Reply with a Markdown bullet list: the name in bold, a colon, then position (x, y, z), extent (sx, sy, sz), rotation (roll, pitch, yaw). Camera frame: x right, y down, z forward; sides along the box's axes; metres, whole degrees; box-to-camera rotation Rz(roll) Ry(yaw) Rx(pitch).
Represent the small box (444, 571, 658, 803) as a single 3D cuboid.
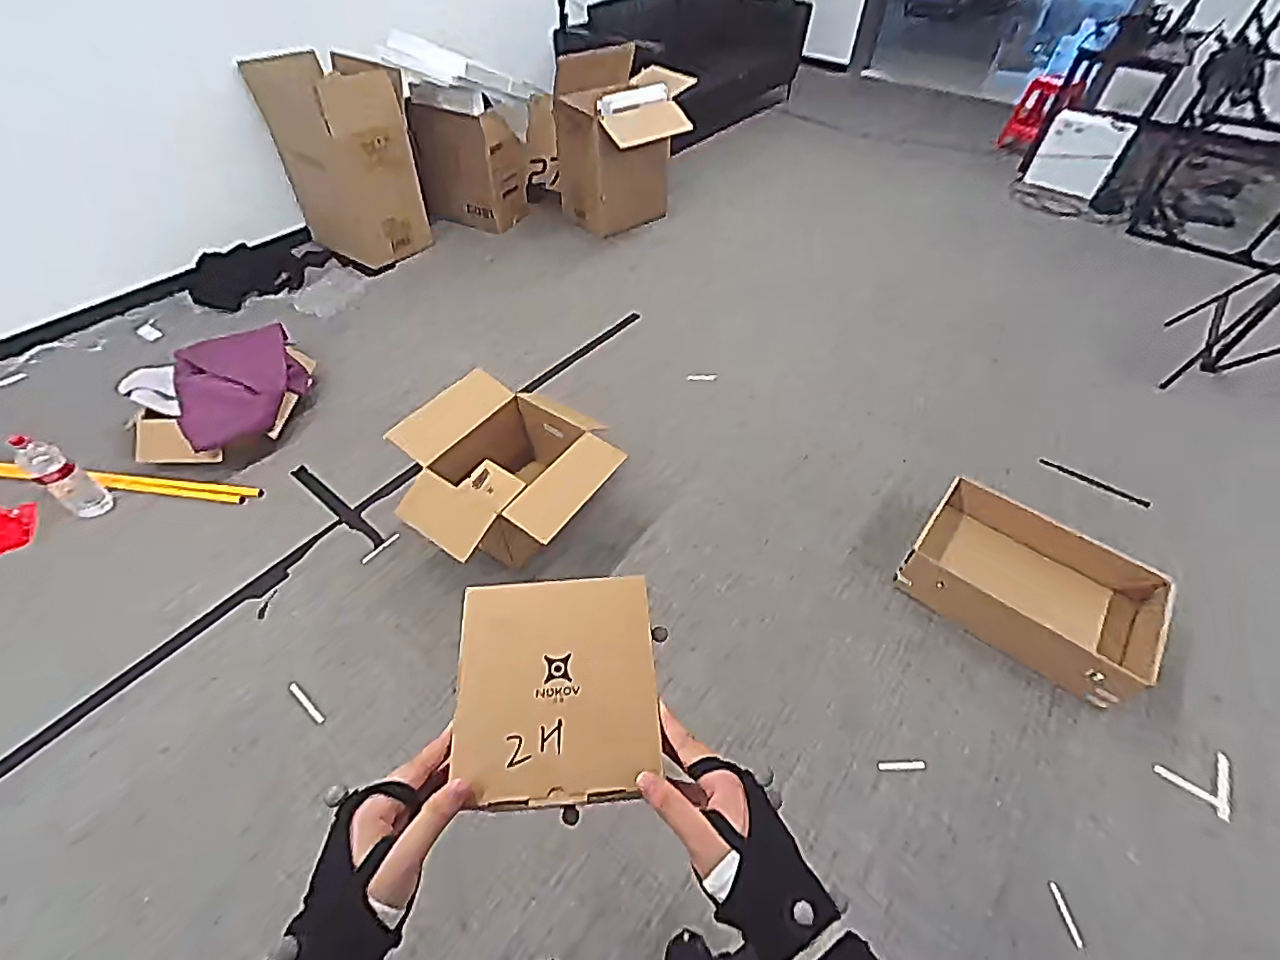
- **small box**: position (-0.075, 0.203, 0.521), extent (0.168, 0.176, 0.179), rotation (-3, 59, -3)
